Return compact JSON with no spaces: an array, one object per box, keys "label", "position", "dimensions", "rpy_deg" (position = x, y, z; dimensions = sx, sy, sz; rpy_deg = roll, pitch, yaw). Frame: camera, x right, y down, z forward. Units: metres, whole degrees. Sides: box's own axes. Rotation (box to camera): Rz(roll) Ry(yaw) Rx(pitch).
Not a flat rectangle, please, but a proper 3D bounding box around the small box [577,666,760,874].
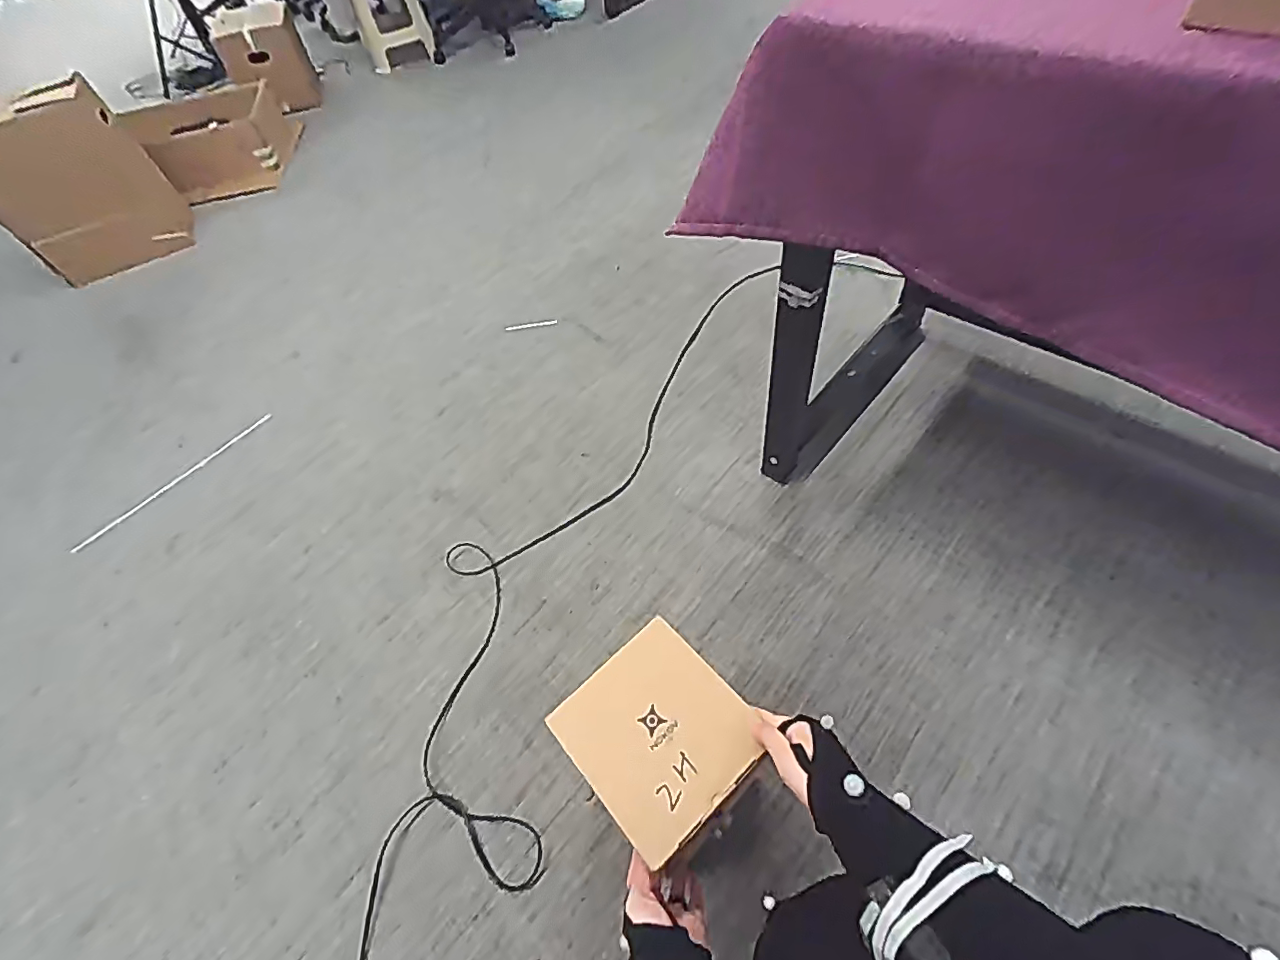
[{"label":"small box","position":[0.044,0.396,0.740],"dimensions":[0.179,0.176,0.168],"rpy_deg":[-41,60,-20]}]
